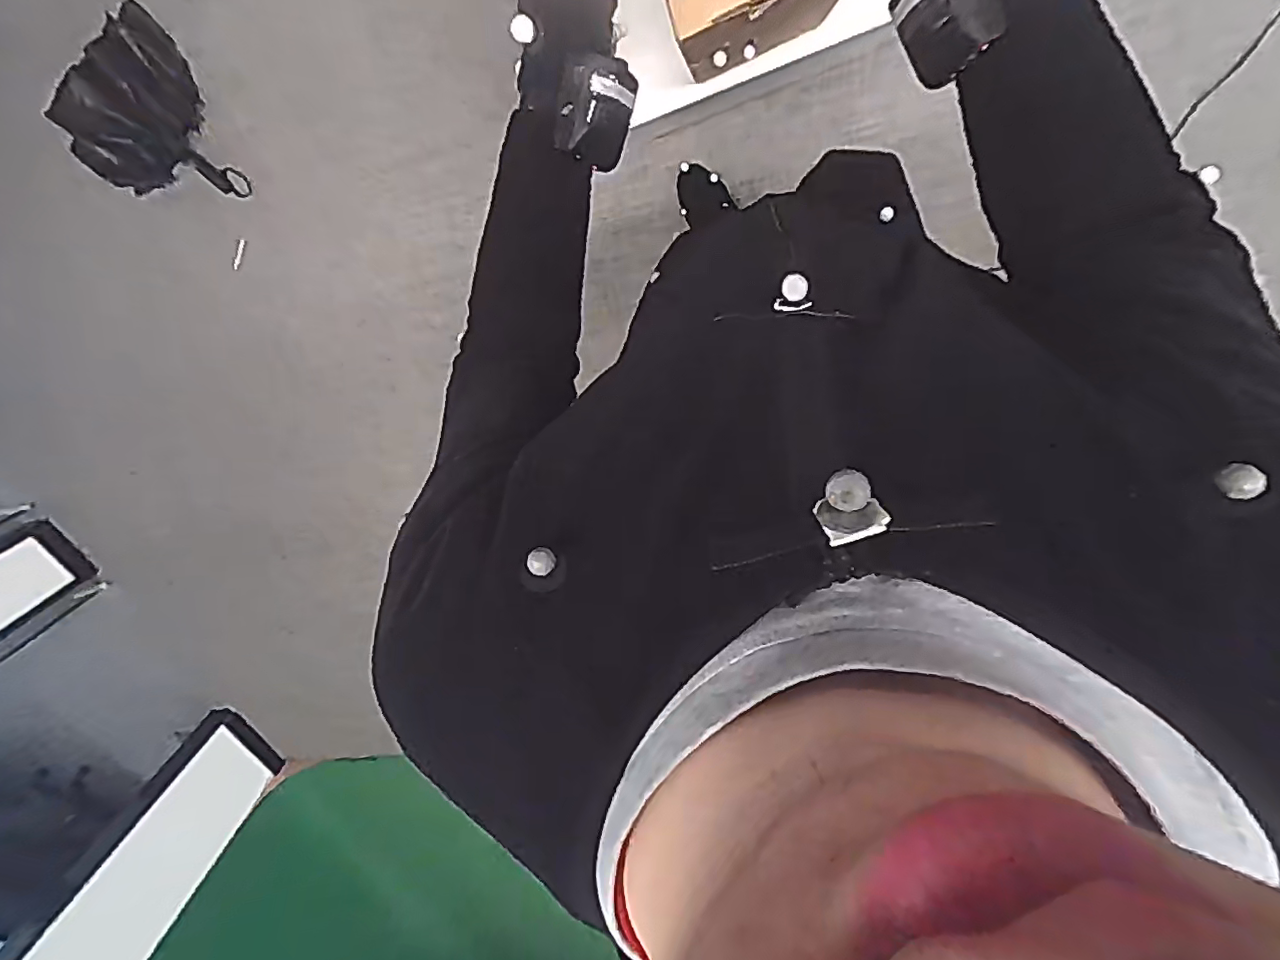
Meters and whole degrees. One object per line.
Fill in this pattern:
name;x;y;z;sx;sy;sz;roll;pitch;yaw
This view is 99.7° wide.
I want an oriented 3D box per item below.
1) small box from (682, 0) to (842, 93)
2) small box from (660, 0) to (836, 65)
small box;0.106;-0.565;0.593;0.168;0.176;0.179;-16;116;18
small box;0.084;-0.482;0.451;0.168;0.176;0.179;-16;115;16
